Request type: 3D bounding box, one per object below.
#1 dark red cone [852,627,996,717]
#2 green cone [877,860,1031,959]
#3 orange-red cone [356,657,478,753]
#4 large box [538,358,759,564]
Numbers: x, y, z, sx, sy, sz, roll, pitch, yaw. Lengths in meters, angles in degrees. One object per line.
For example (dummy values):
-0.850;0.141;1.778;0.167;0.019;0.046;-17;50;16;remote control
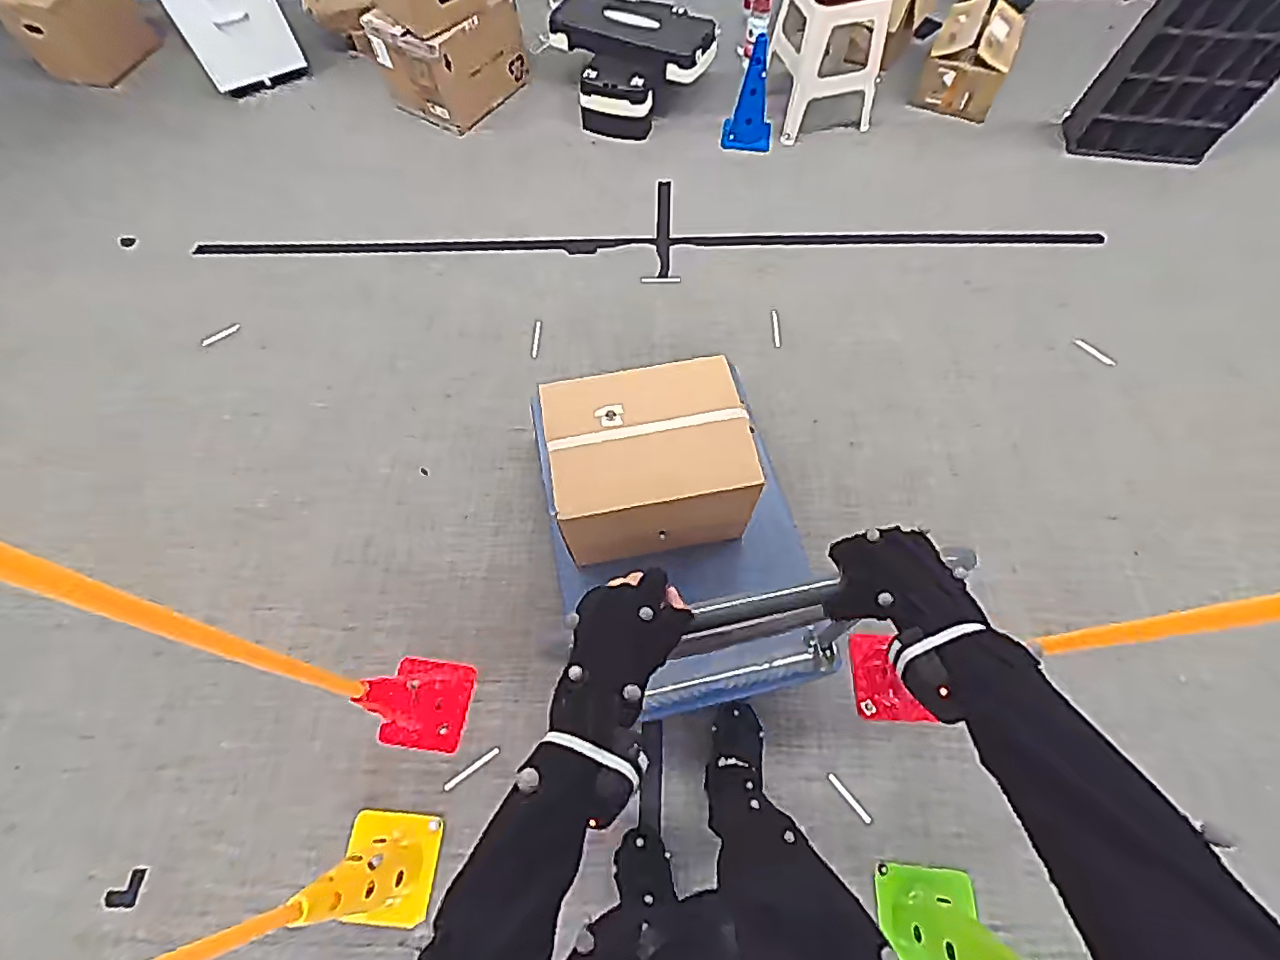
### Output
0.620;0.385;1.146;0.201;0.394;0.202;1;64;0;dark red cone
0.591;0.828;0.950;0.202;0.368;0.200;4;64;2;green cone
-0.511;0.467;1.164;0.198;0.360;0.199;7;63;4;orange-red cone
0.014;-0.028;1.226;0.408;0.320;0.320;-11;65;-3;large box
